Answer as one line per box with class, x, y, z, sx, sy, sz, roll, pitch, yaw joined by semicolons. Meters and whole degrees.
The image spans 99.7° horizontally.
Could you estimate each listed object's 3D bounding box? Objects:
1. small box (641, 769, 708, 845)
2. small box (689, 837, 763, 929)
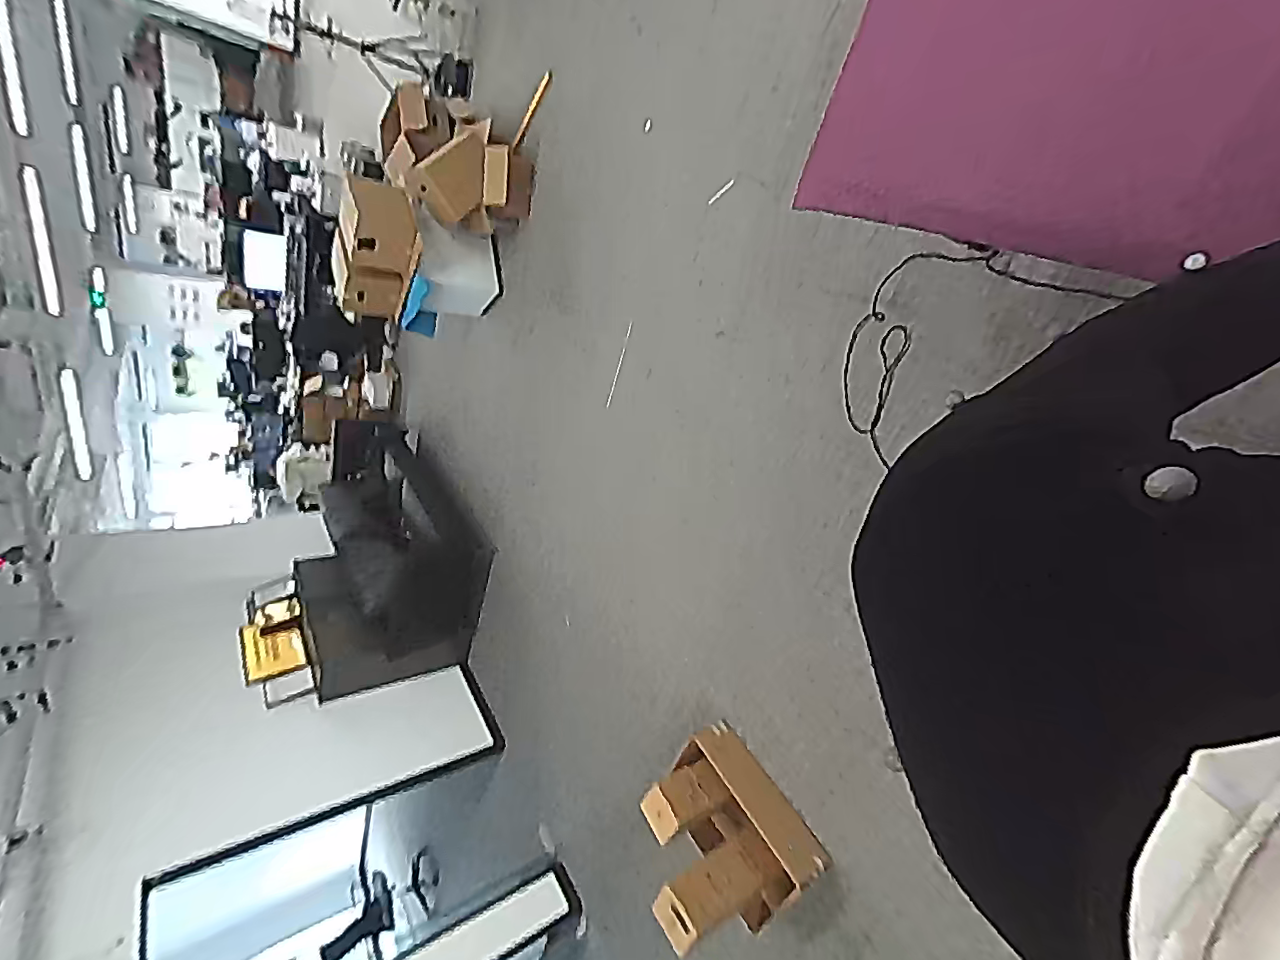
small box;0.138;1.273;2.113;0.168;0.176;0.179;49;127;37
small box;0.309;1.427;1.921;0.168;0.176;0.179;41;124;40
